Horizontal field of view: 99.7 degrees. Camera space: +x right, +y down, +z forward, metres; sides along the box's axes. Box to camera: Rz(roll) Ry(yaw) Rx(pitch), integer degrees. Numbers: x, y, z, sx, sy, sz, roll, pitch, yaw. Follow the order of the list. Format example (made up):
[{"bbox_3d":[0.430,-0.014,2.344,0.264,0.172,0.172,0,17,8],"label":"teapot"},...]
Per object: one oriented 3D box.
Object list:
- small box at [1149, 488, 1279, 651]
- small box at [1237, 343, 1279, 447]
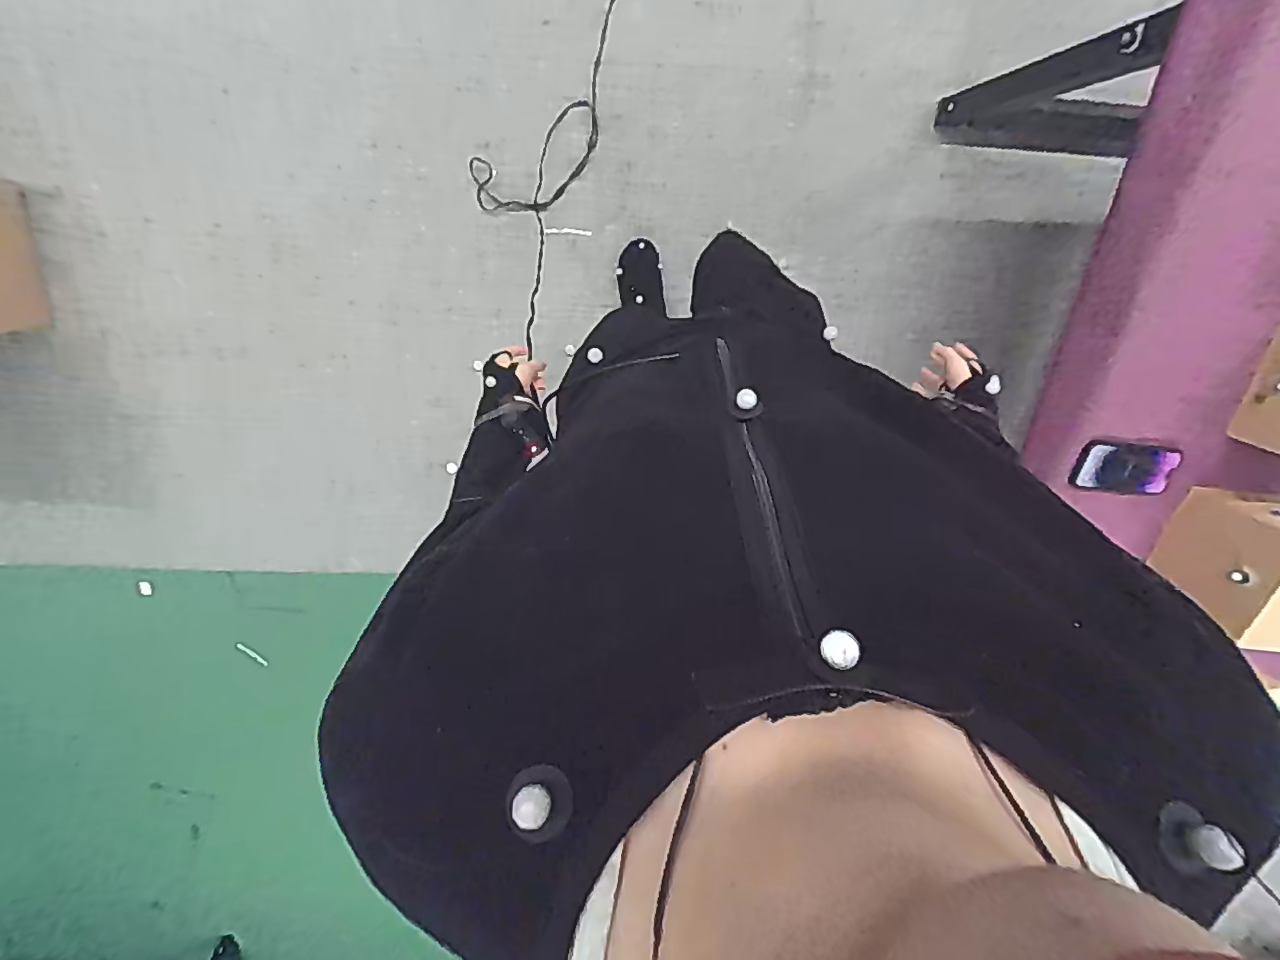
[{"bbox_3d":[0.911,0.126,0.782,0.168,0.176,0.179,7,115,-4],"label":"small box"},{"bbox_3d":[0.942,-0.108,0.673,0.179,0.176,0.168,0,115,-1],"label":"small box"}]
